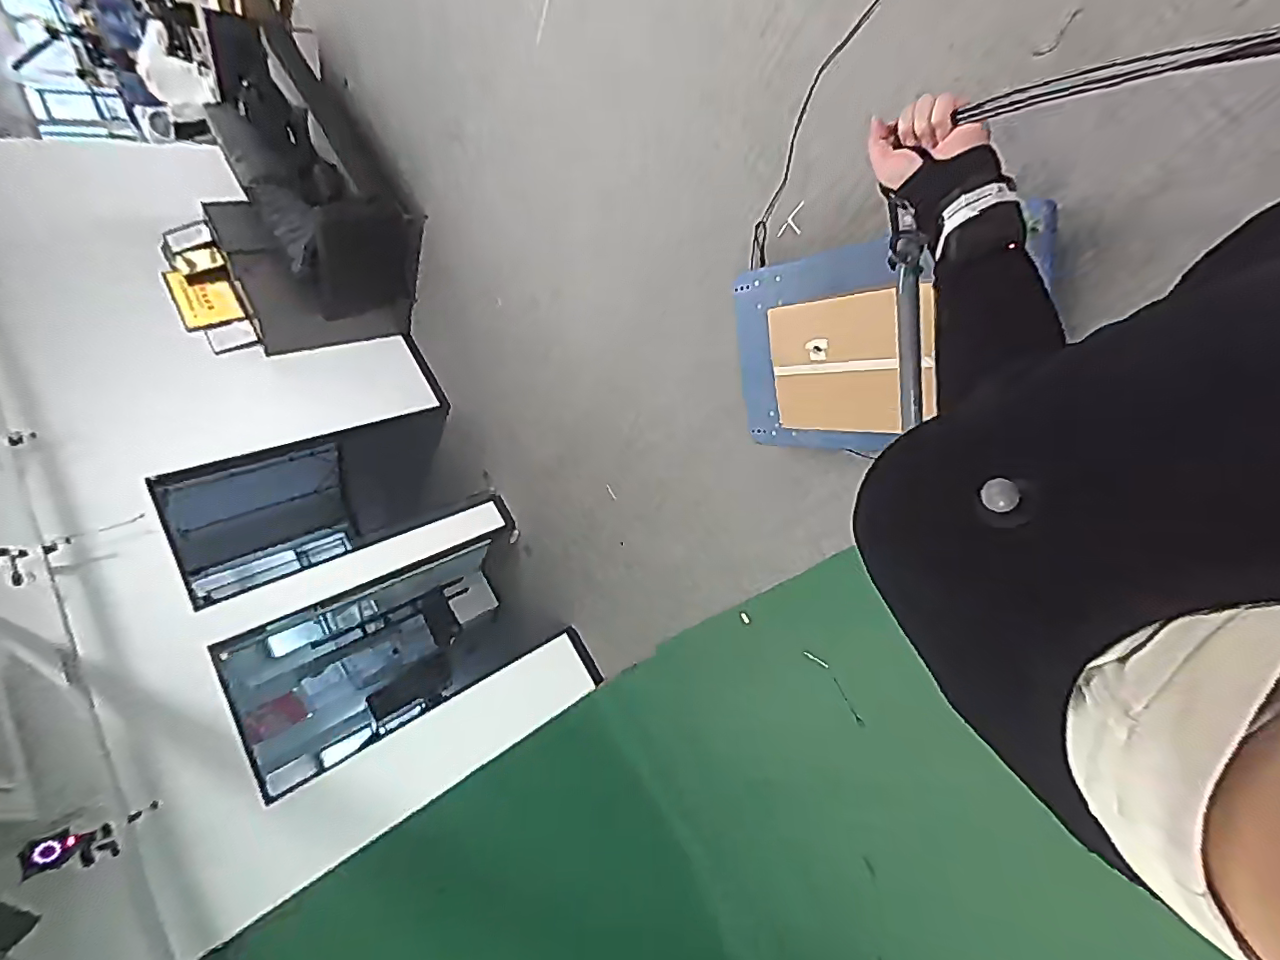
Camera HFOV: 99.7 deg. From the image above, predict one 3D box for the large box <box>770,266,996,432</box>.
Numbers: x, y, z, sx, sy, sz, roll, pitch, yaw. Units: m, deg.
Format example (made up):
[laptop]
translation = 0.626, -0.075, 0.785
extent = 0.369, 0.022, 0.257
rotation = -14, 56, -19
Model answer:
[large box]
translation = 0.590, -0.312, 1.322
extent = 0.408, 0.320, 0.320
rotation = 10, 115, 51
